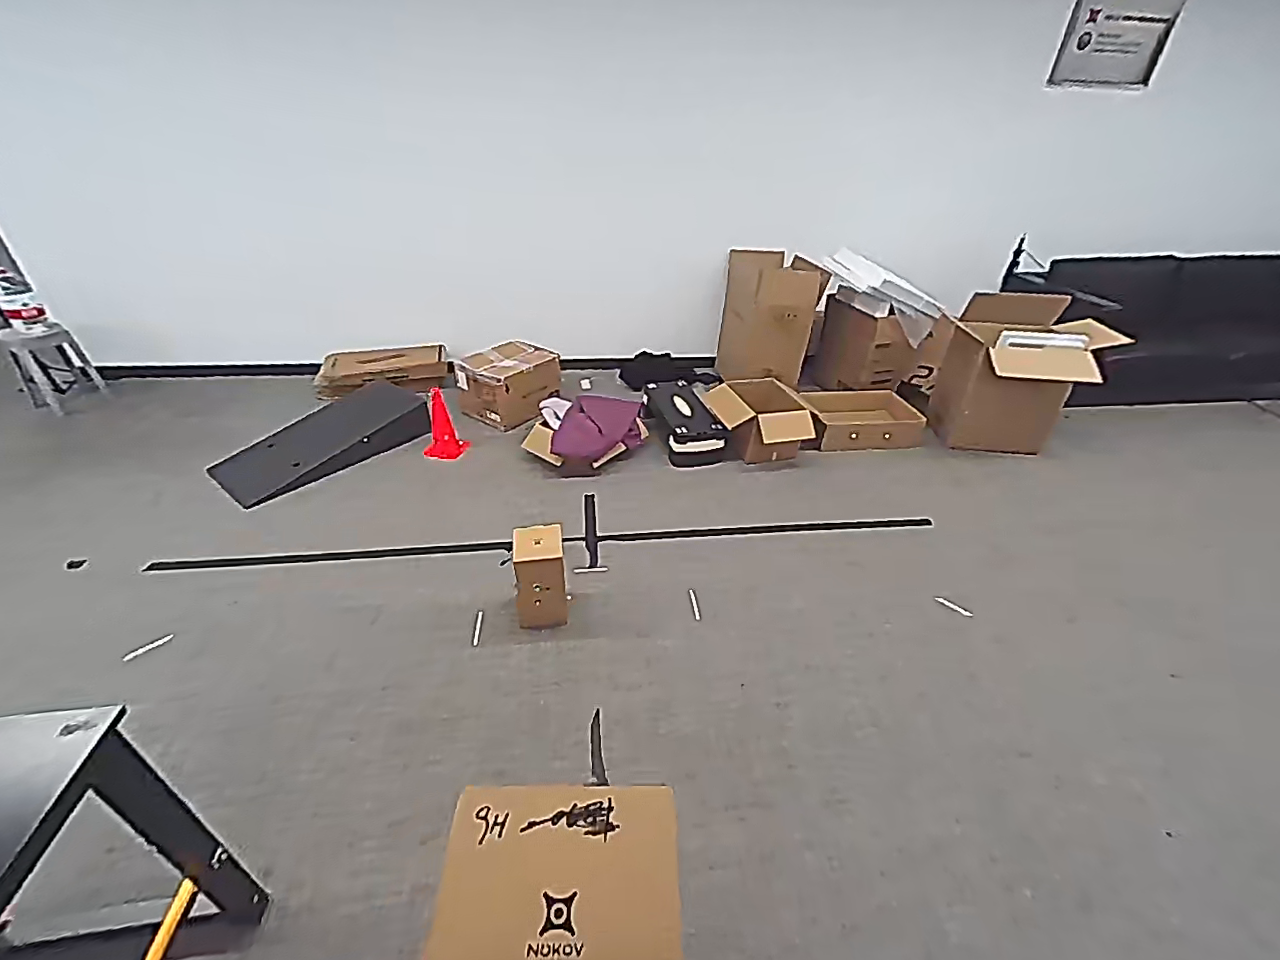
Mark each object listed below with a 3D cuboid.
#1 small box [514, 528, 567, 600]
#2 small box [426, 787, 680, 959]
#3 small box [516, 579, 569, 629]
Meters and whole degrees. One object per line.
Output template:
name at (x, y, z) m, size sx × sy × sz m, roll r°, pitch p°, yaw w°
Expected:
small box at (-0.347, 0.293, 1.885) m, size 0.168 × 0.176 × 0.179 m, roll -6°, pitch 36°, yaw -9°
small box at (-0.056, 0.355, 0.408) m, size 0.168 × 0.176 × 0.179 m, roll 1°, pitch 42°, yaw -2°
small box at (-0.355, 0.427, 1.977) m, size 0.179 × 0.176 × 0.168 m, roll -3°, pitch 34°, yaw -8°
